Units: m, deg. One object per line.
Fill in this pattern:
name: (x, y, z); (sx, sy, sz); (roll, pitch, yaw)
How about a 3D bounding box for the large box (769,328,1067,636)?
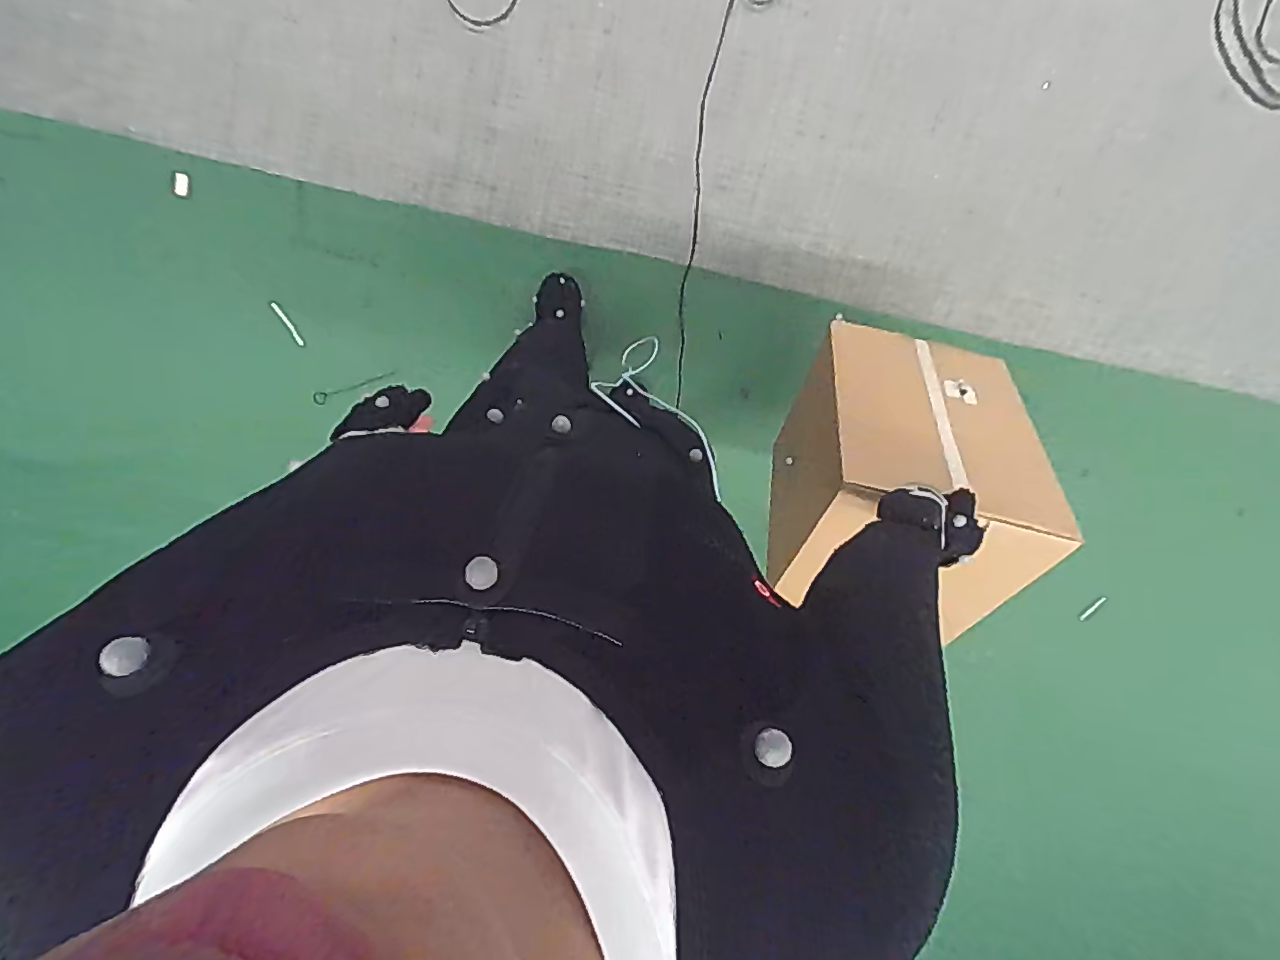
large box: (0.423, 0.000, 0.946); (0.320, 0.408, 0.320); (15, 137, 1)
